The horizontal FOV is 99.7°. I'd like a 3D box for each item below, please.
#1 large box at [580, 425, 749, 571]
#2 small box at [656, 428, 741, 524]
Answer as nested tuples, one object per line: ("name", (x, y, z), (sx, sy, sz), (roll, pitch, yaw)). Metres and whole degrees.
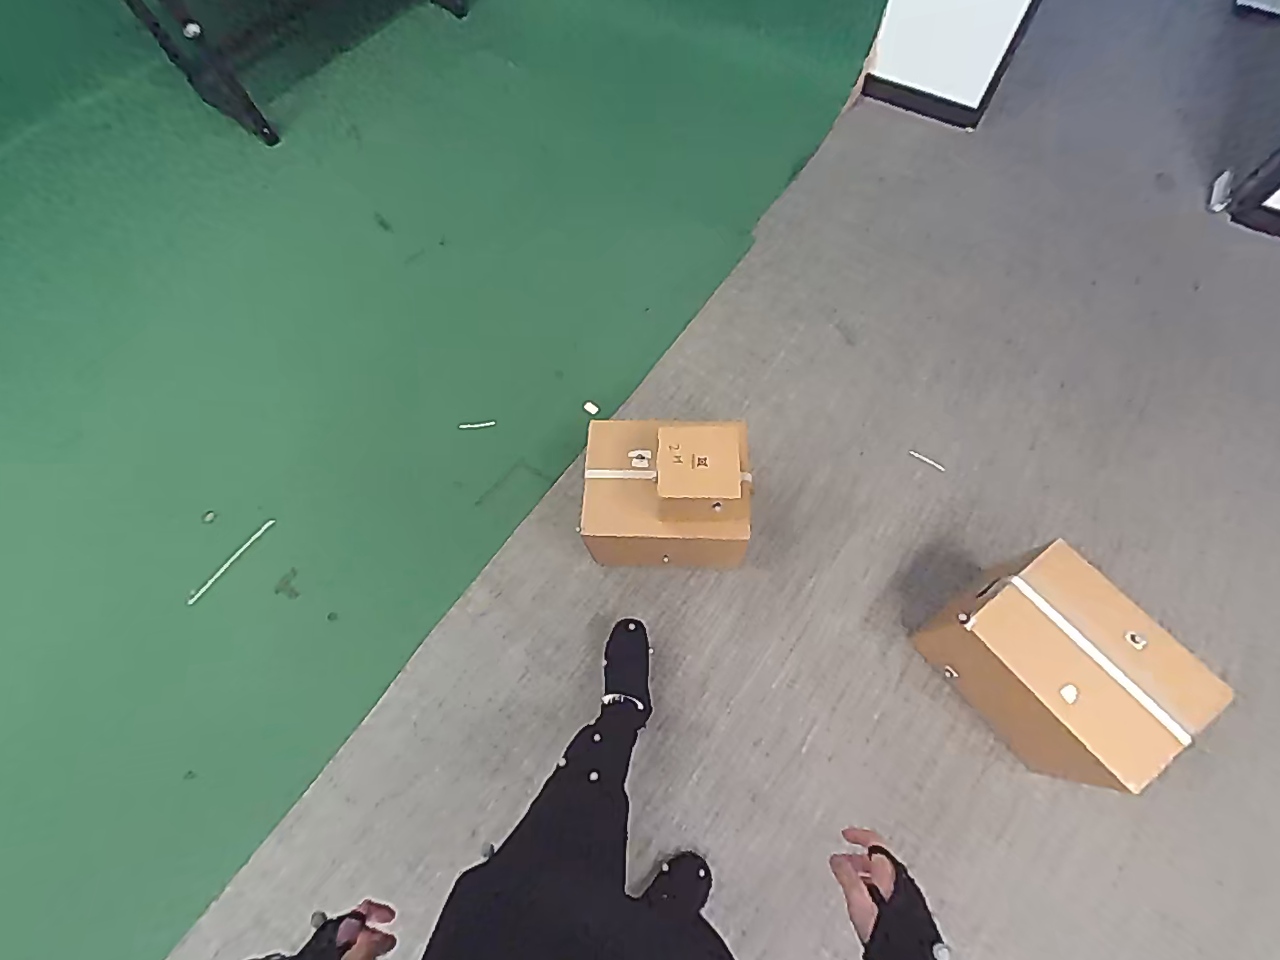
("large box", (0.072, 0.061, 1.456), (0.408, 0.320, 0.320), (0, 66, 5))
("small box", (0.127, -0.005, 1.211), (0.179, 0.176, 0.168), (1, 68, 4))
